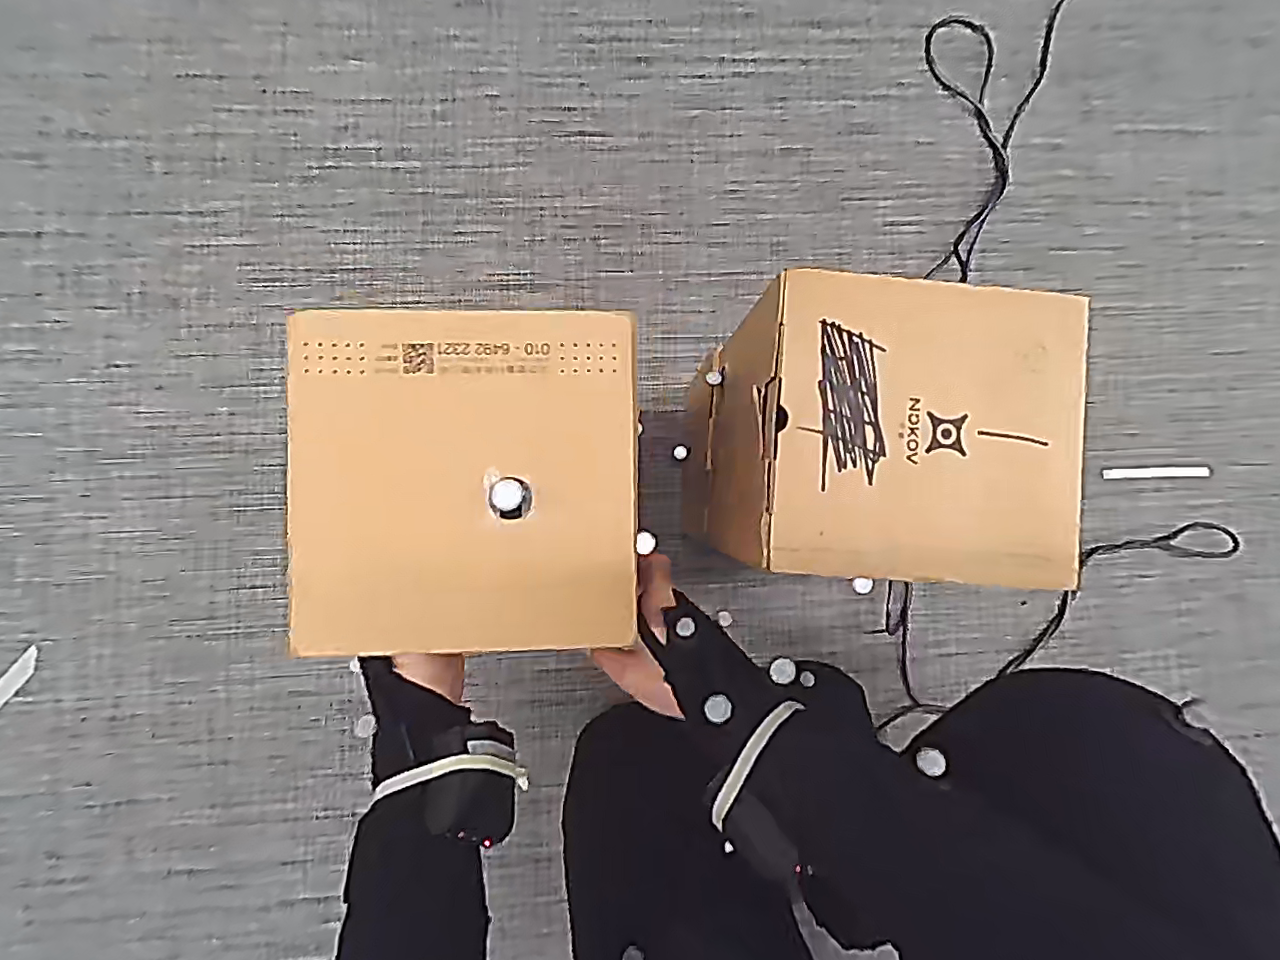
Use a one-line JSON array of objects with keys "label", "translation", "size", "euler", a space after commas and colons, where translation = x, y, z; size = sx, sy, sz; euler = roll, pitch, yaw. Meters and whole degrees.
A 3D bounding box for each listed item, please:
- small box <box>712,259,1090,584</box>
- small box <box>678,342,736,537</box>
[{"label": "small box", "translation": [0.152, -0.028, 0.370], "size": [0.179, 0.176, 0.168], "euler": [5, 87, -4]}, {"label": "small box", "translation": [0.140, -0.025, 0.534], "size": [0.179, 0.176, 0.168], "euler": [4, 87, -3]}]
